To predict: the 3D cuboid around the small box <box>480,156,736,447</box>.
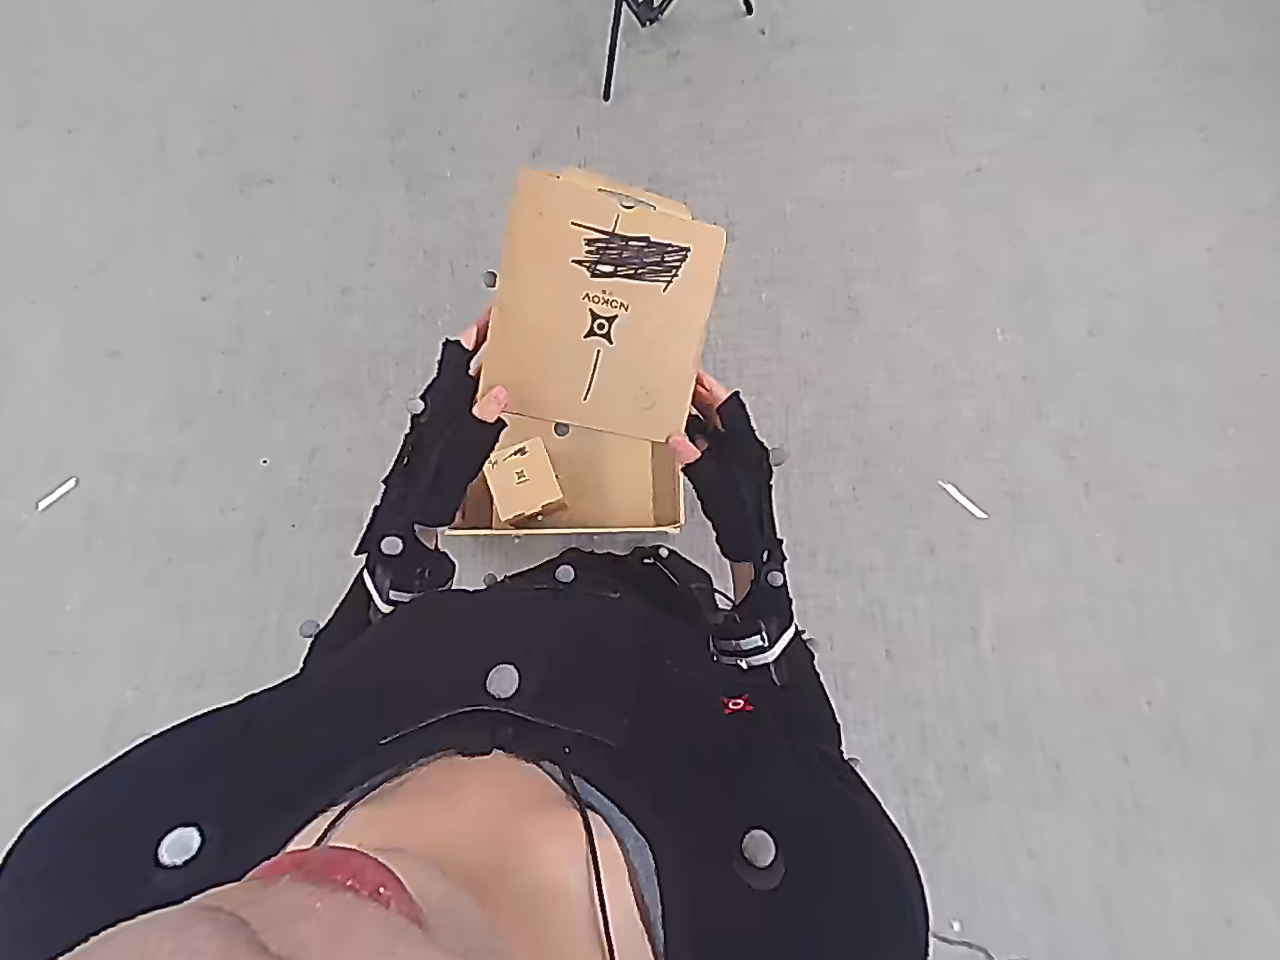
[{"bbox_3d":[-0.039,-0.137,0.476,0.168,0.176,0.179,11,97,-14],"label":"small box"}]
